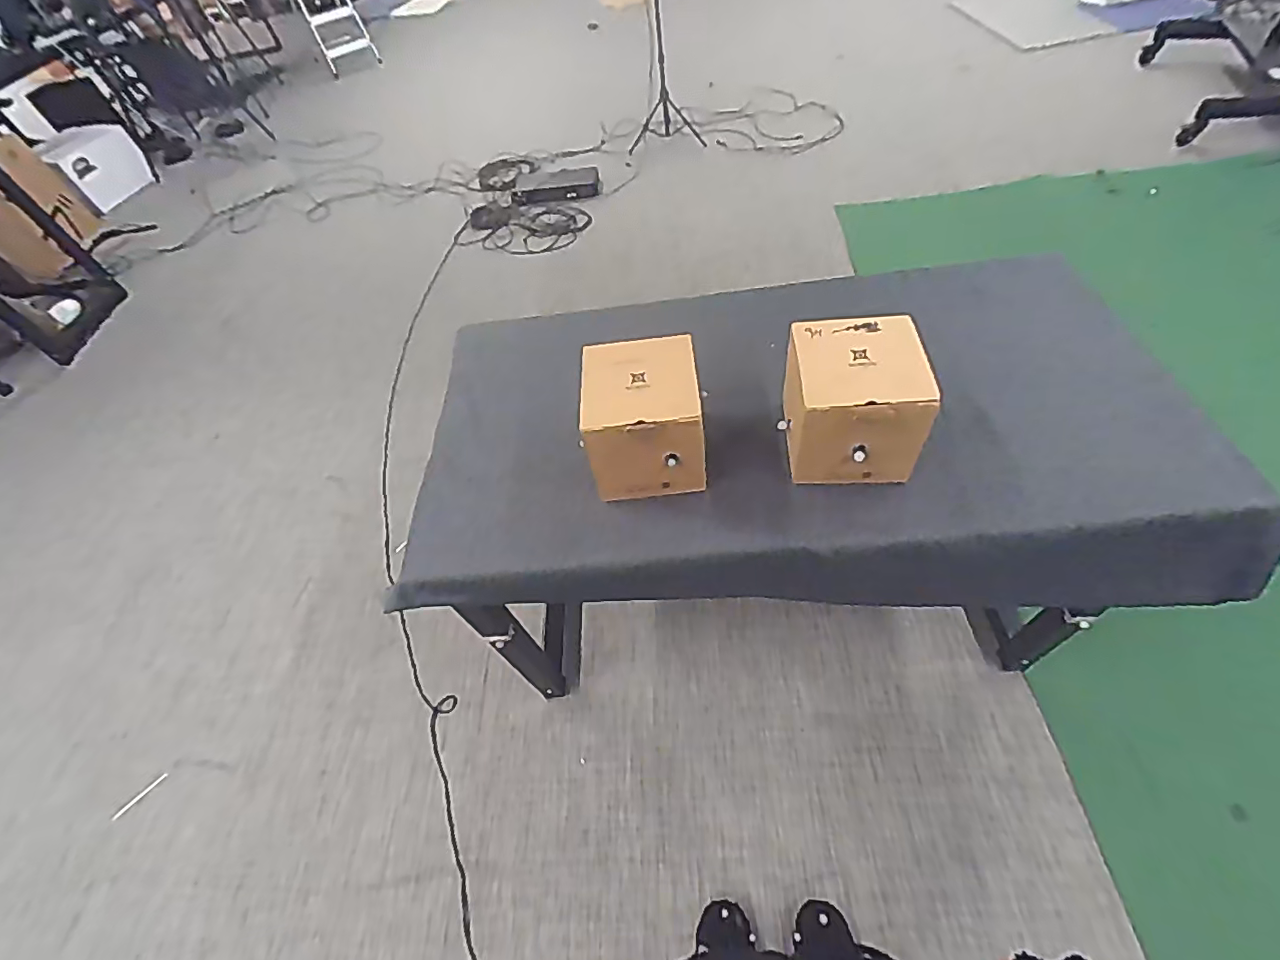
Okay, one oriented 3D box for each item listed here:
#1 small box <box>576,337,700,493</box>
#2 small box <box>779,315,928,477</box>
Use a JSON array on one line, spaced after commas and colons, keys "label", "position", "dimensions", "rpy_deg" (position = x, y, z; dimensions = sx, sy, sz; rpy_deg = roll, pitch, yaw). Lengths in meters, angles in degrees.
[{"label": "small box", "position": [0.001, -0.092, 0.835], "dimensions": [0.168, 0.176, 0.179], "rpy_deg": [-6, 52, 3]}, {"label": "small box", "position": [0.299, -0.116, 0.800], "dimensions": [0.168, 0.176, 0.179], "rpy_deg": [-2, 55, 8]}]
